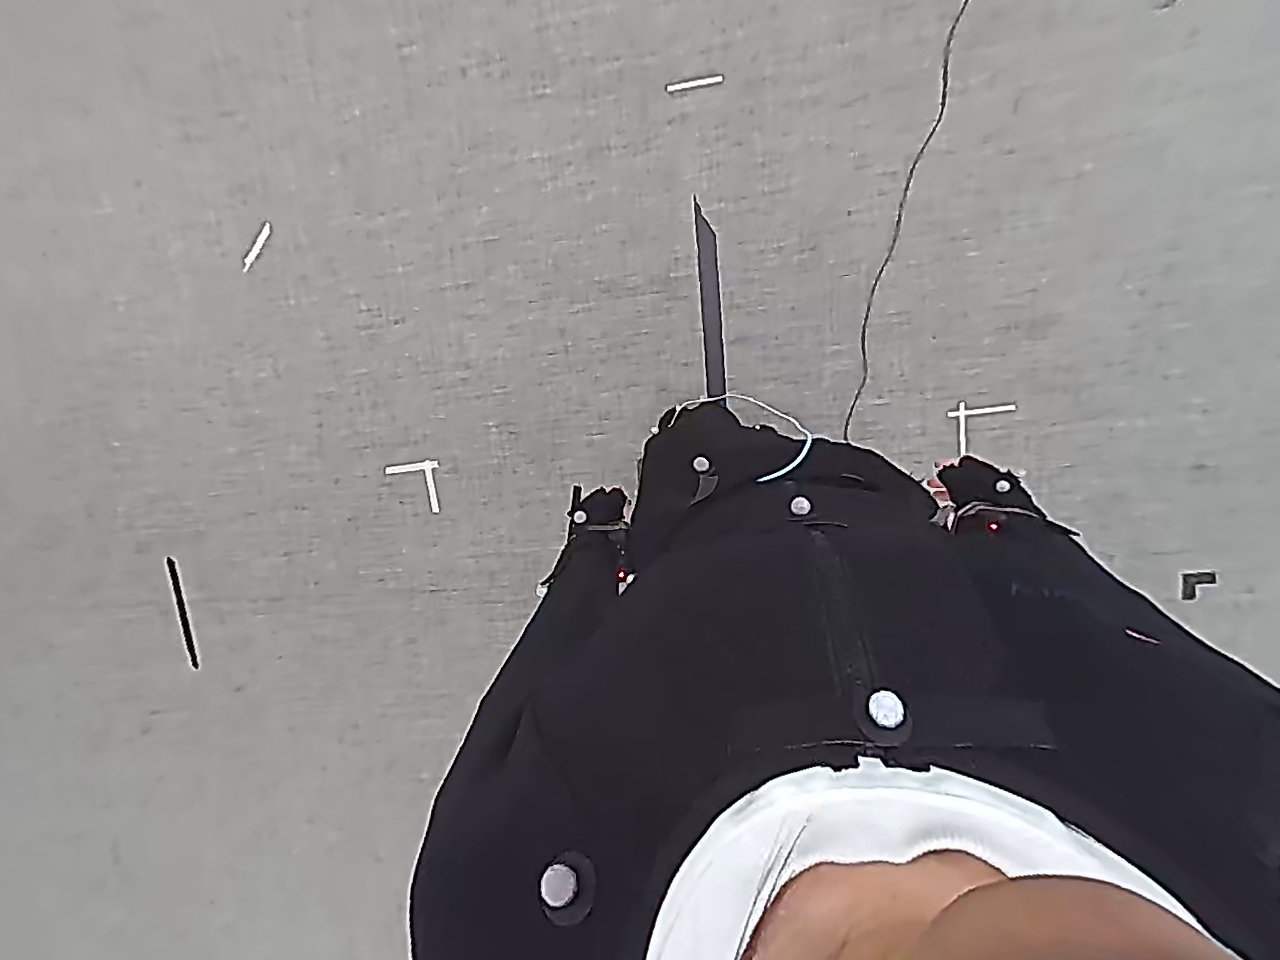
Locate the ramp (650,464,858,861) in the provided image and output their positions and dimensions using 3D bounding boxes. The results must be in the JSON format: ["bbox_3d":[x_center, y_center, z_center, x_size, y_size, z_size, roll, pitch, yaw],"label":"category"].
[{"bbox_3d":[0.283,0.466,1.431,0.509,0.206,0.991,-5,95,12],"label":"ramp"}]
